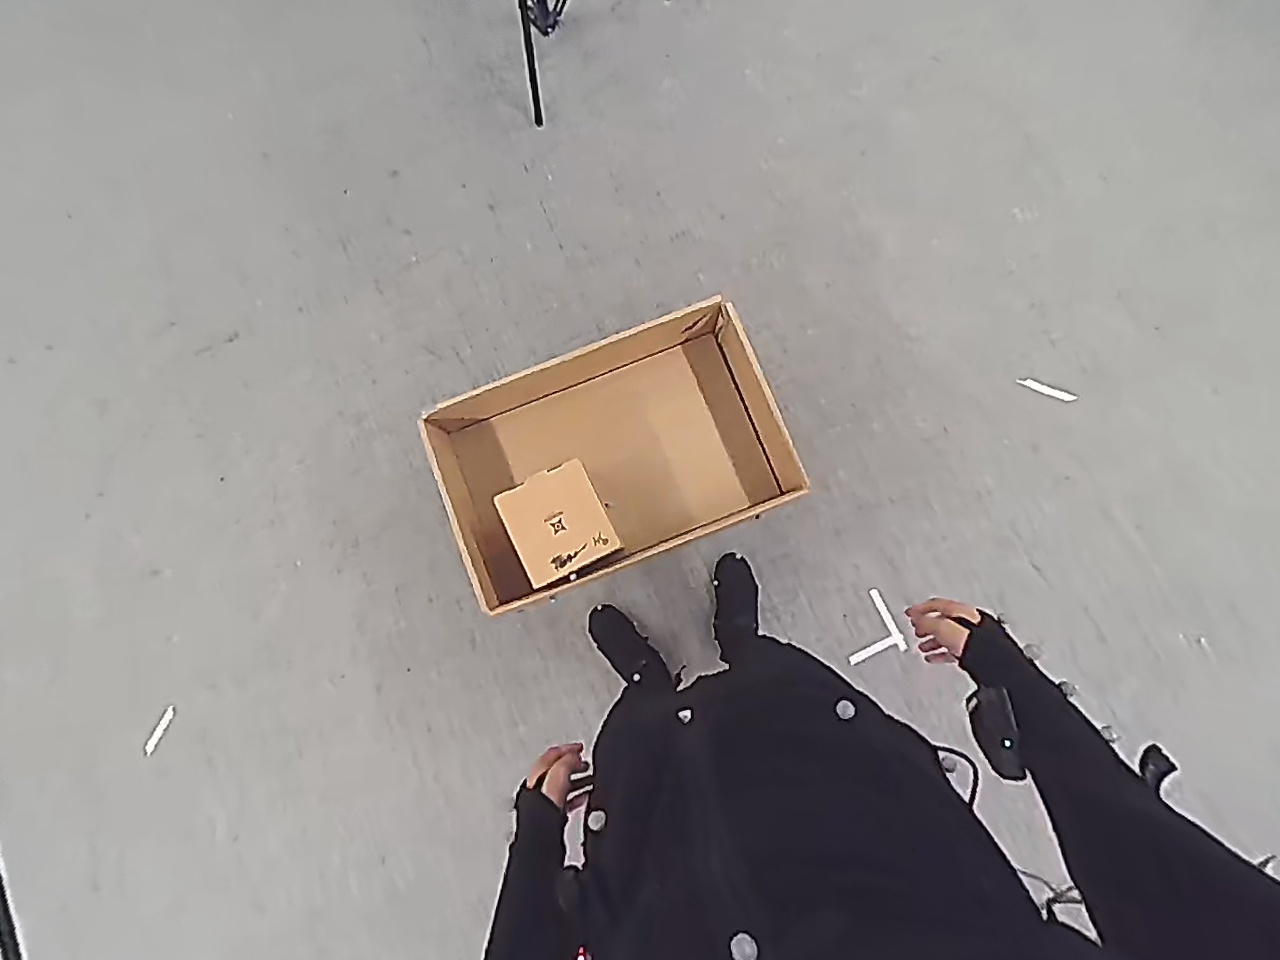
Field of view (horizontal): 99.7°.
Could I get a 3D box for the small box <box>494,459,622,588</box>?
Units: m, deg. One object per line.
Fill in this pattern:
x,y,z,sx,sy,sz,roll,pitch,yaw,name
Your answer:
-0.143,0.086,1.001,0.168,0.176,0.179,-26,82,-2,small box
